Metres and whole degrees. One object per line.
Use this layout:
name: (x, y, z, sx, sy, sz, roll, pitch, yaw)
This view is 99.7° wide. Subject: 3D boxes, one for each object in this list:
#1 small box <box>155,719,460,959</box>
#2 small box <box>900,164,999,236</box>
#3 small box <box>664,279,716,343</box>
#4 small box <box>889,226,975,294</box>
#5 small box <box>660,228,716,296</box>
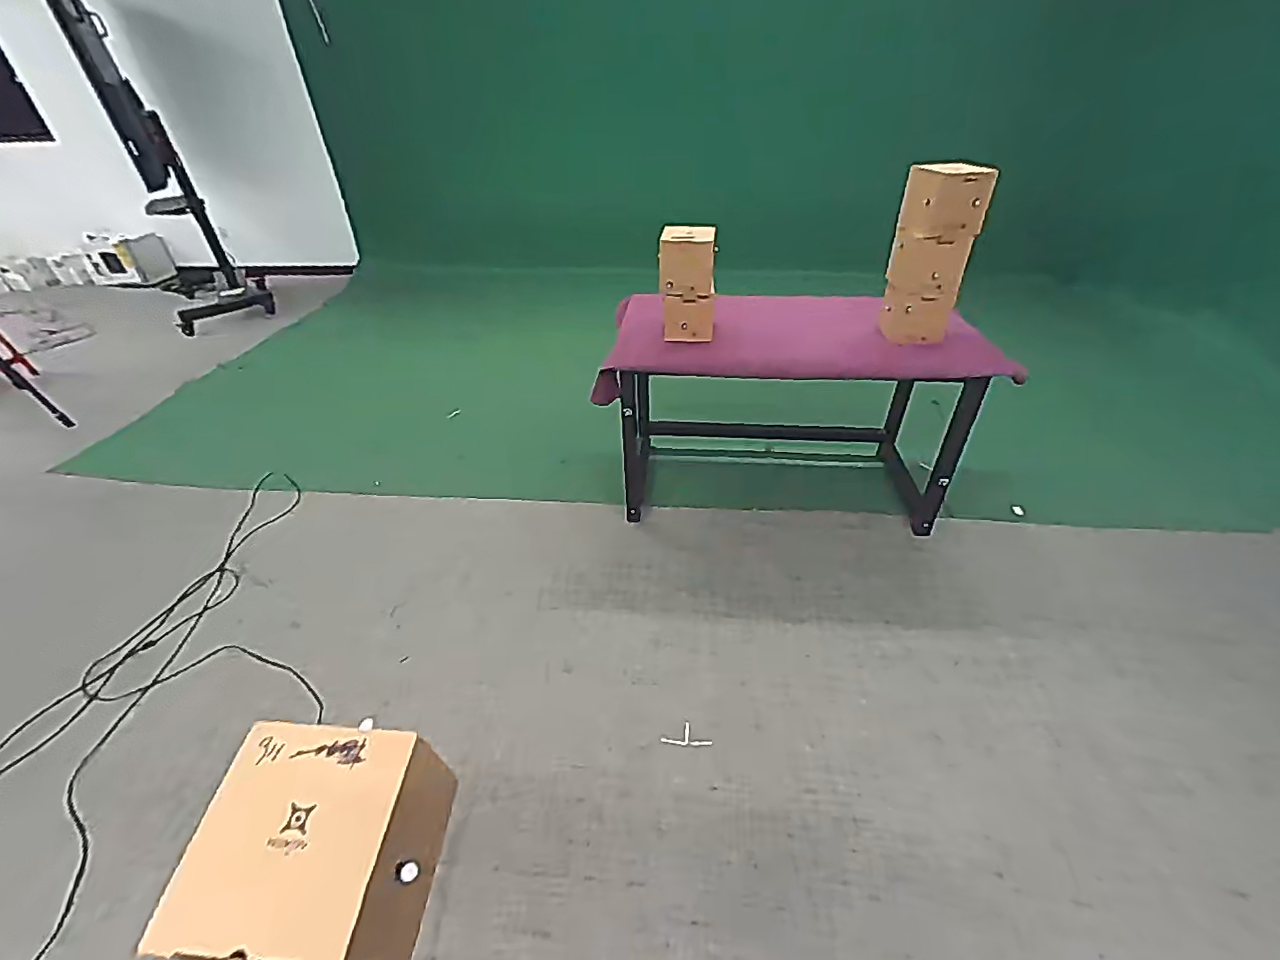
small box: (-0.296, 0.360, 0.536, 0.168, 0.176, 0.179, 4, 49, 3)
small box: (0.905, -0.824, 1.599, 0.168, 0.176, 0.179, -6, 37, -6)
small box: (0.170, -0.587, 1.864, 0.168, 0.176, 0.179, 2, 39, 3)
small box: (0.904, -0.694, 1.697, 0.168, 0.176, 0.179, 0, 37, 3)
small box: (0.156, -0.707, 1.751, 0.168, 0.176, 0.179, 5, 38, 7)
